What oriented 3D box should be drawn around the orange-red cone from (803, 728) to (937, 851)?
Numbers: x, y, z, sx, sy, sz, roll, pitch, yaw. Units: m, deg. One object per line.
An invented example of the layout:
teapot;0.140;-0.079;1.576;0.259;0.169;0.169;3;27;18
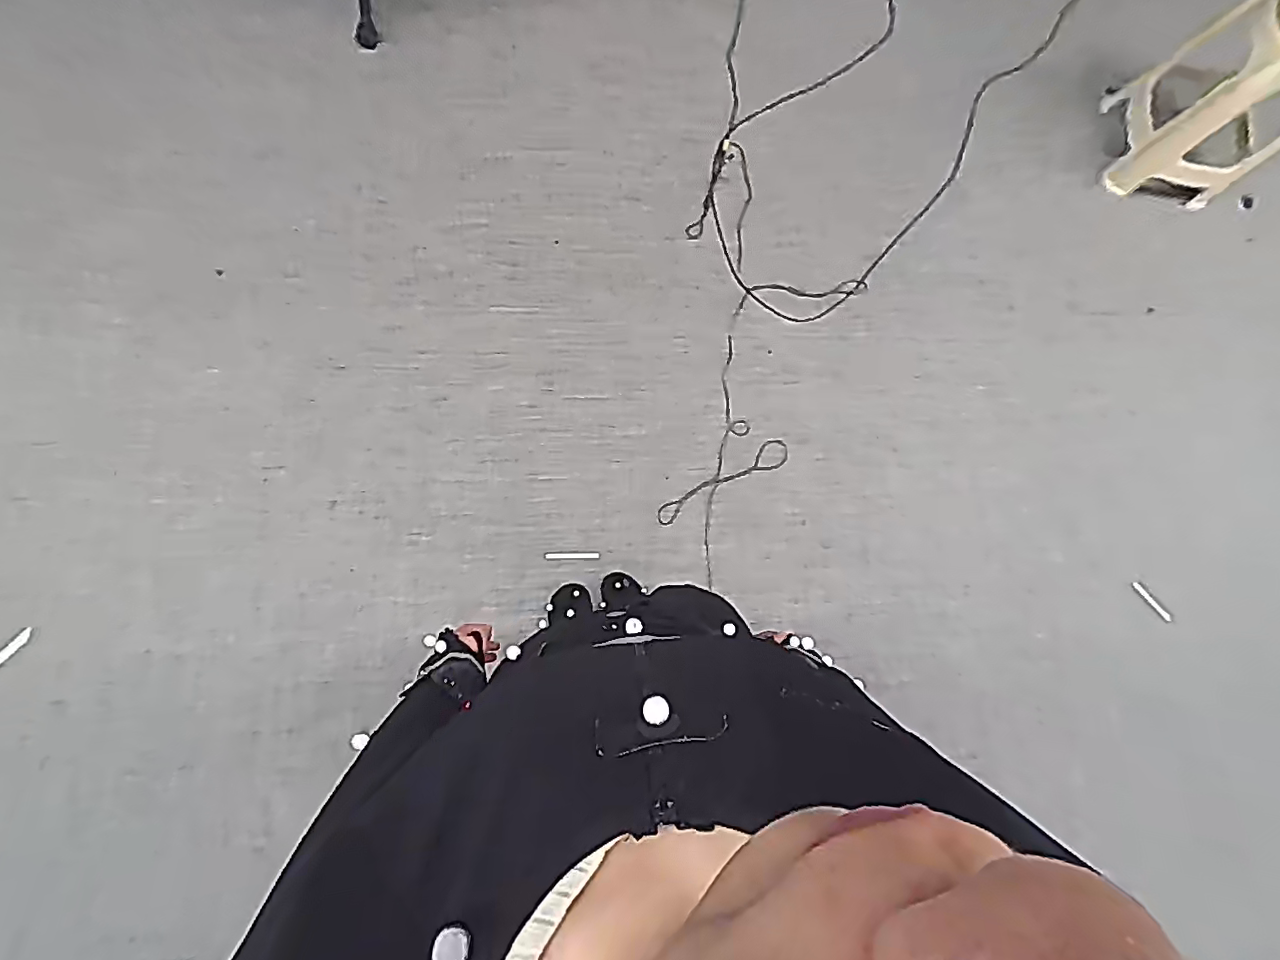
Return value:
orange-red cone;0.522;0.700;1.177;0.199;0.360;0.198;-5;81;-4
